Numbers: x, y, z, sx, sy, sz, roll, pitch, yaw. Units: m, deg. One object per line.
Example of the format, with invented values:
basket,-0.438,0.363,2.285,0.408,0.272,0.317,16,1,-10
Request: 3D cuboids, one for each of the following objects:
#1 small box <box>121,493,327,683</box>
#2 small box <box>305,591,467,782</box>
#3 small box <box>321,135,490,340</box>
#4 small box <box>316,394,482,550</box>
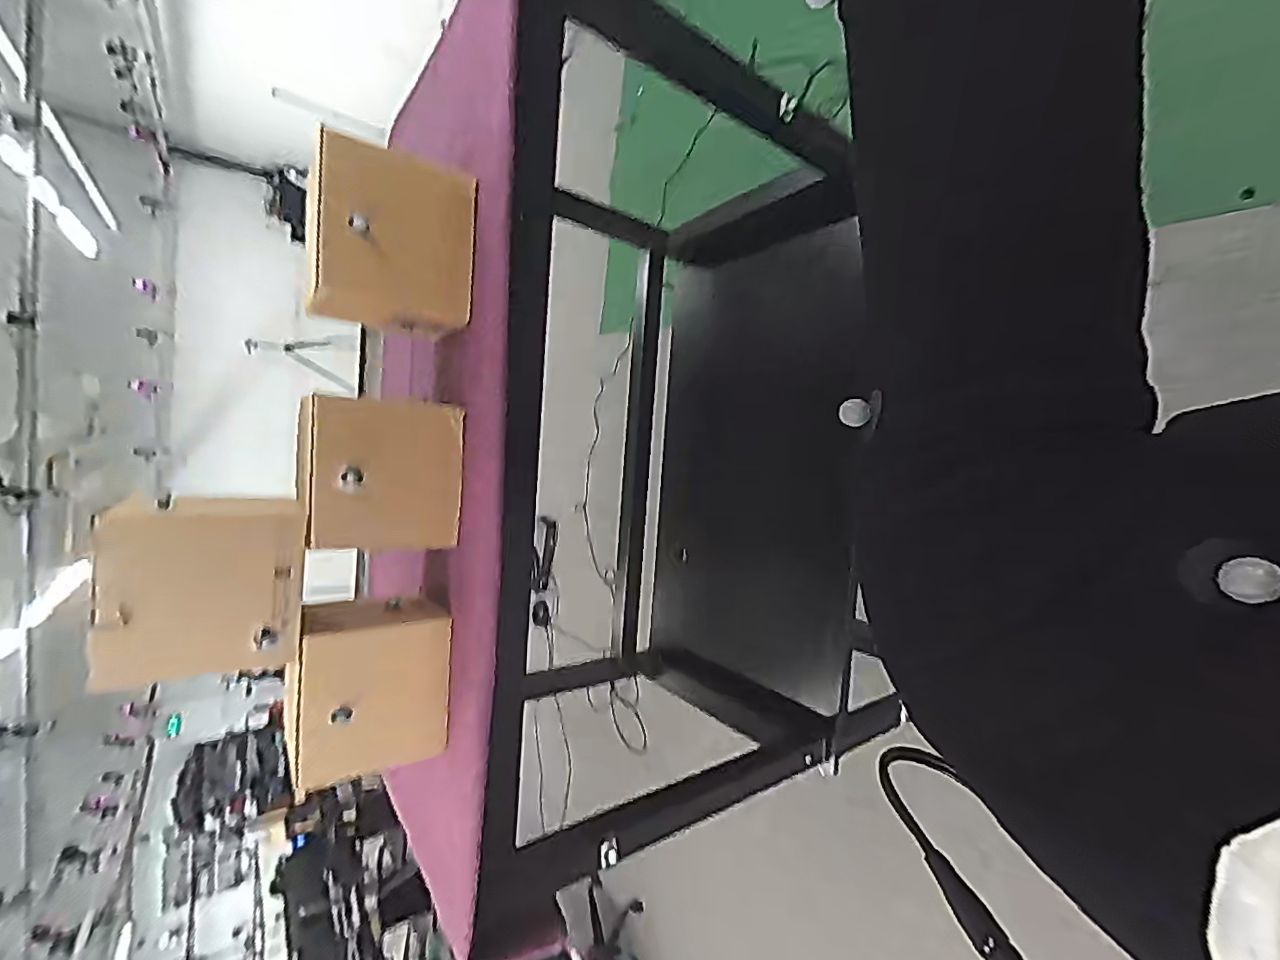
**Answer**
small box,-0.465,0.107,0.622,0.179,0.176,0.168,10,95,55
small box,-0.339,0.255,0.719,0.168,0.176,0.179,4,91,53
small box,-0.300,-0.290,0.693,0.168,0.176,0.179,7,96,55
small box,-0.314,-0.011,0.701,0.168,0.176,0.179,8,93,54
